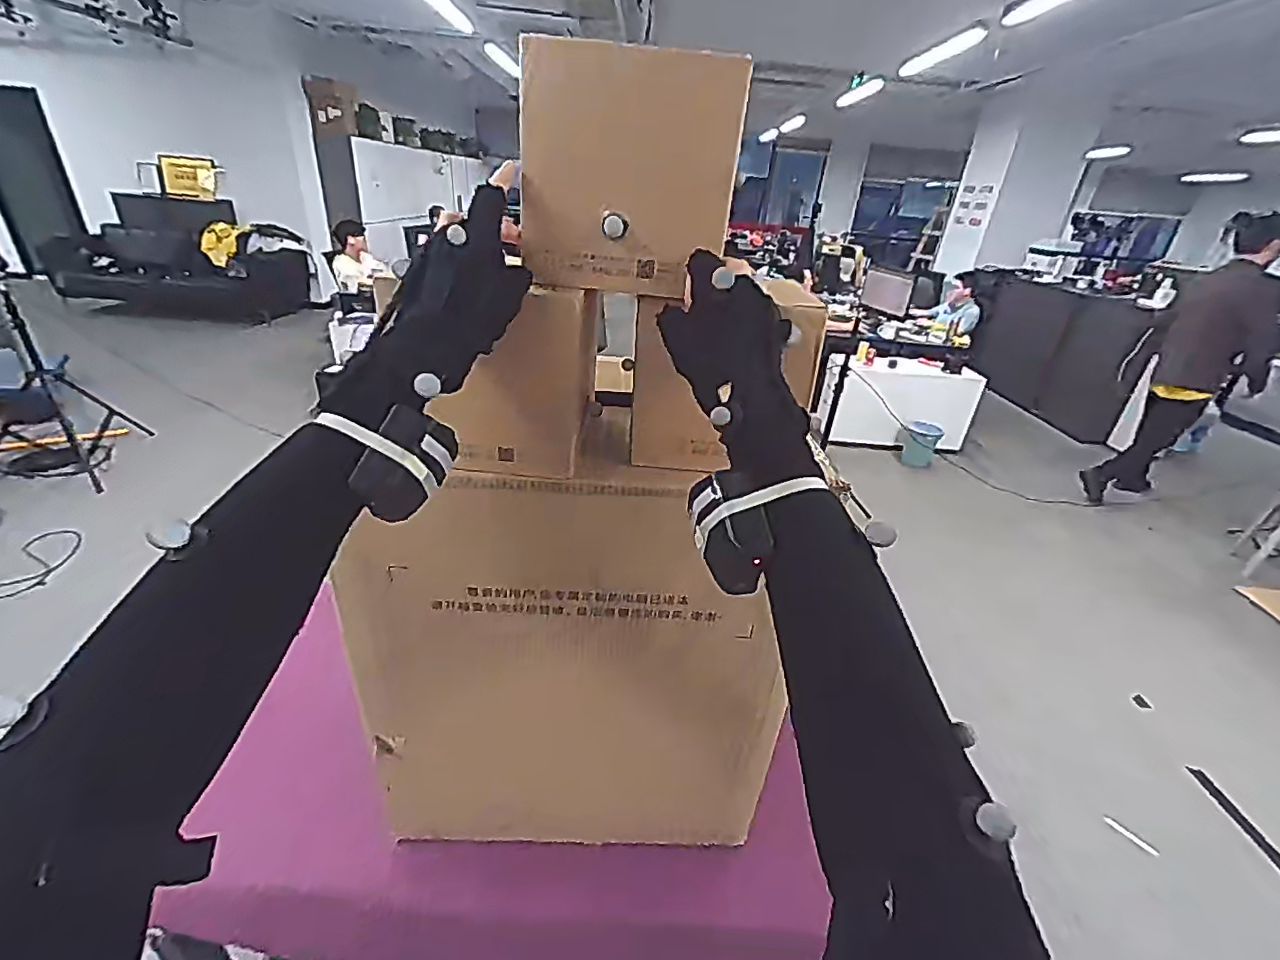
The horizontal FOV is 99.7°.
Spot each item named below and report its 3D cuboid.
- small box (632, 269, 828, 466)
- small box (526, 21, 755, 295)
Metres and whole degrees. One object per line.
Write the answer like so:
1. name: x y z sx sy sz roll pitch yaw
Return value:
1. small box: 0.082 -0.125 0.571 0.168 0.176 0.179 5 27 1
2. small box: -0.003 -0.274 0.485 0.168 0.176 0.179 6 29 1
